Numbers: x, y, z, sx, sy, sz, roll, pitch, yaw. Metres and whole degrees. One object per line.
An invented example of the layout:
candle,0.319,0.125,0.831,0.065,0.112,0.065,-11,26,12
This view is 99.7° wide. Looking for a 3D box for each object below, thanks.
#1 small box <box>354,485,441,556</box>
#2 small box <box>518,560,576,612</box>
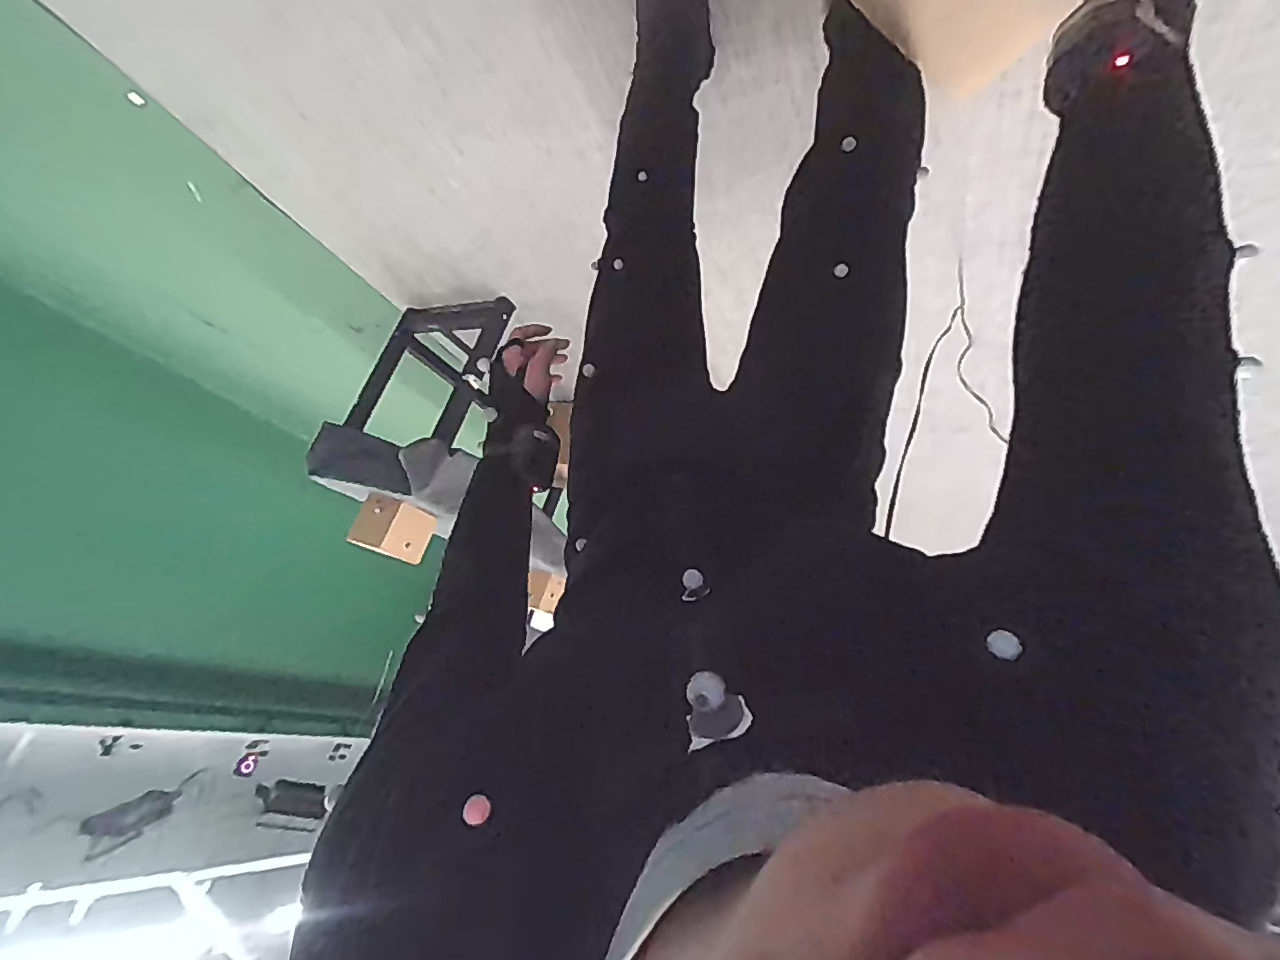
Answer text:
small box,-0.807,0.135,1.817,0.168,0.176,0.179,11,160,26
small box,-0.407,0.470,2.425,0.179,0.176,0.168,7,157,41
